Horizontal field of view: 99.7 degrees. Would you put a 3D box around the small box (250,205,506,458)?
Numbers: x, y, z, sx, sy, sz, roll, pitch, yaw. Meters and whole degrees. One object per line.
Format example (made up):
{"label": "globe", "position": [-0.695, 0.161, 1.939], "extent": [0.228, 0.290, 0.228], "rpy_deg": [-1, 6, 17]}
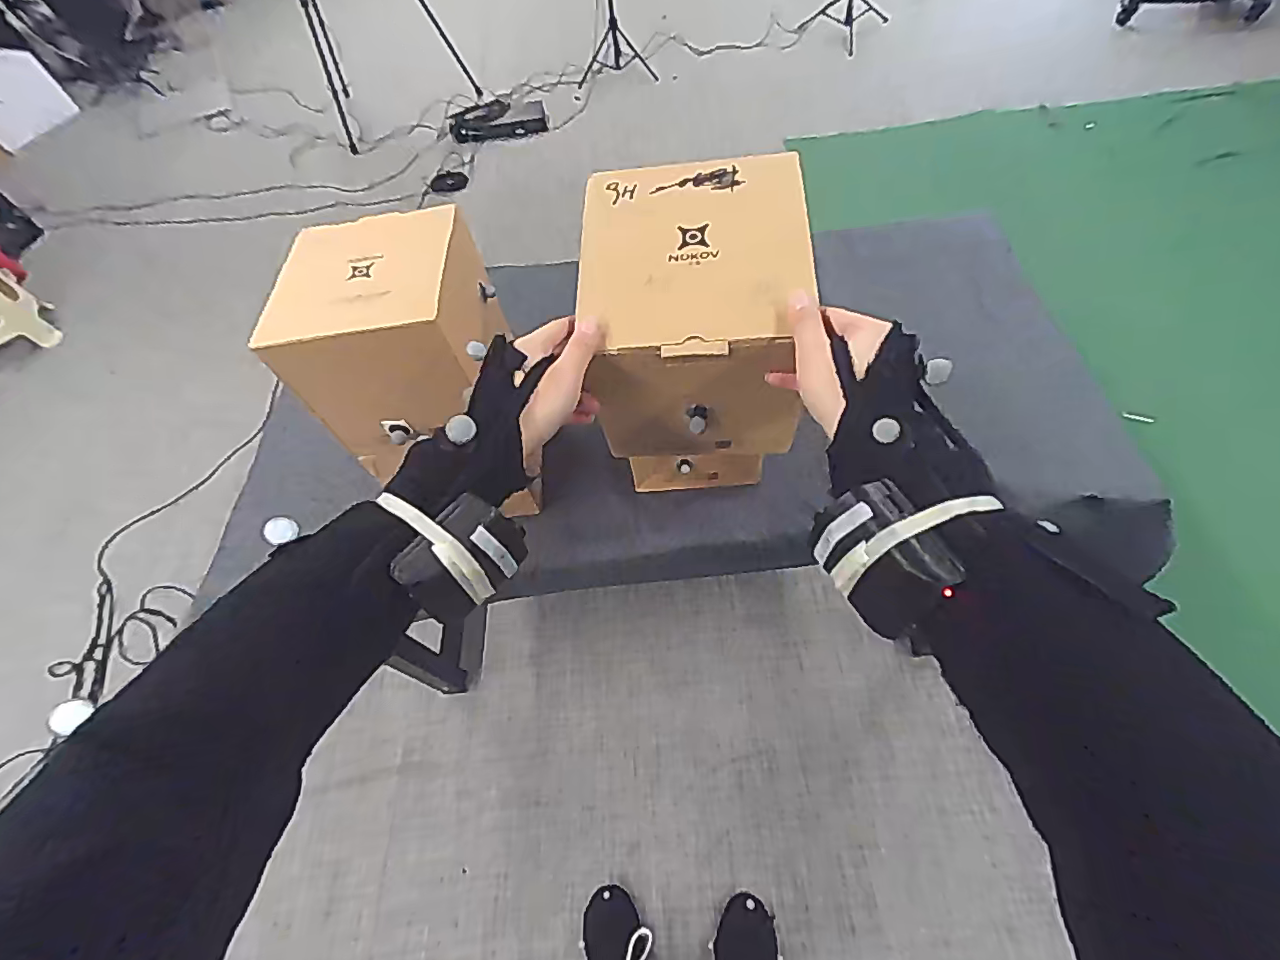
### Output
{"label": "small box", "position": [-0.245, -0.147, 0.559], "extent": [0.168, 0.176, 0.179], "rpy_deg": [-9, 58, 3]}

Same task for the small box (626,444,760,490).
{"label": "small box", "position": [0.061, -0.108, 0.693], "extent": [0.168, 0.176, 0.179], "rpy_deg": [-5, 57, 3]}

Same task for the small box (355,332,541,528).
{"label": "small box", "position": [-0.228, -0.059, 0.694], "extent": [0.168, 0.176, 0.179], "rpy_deg": [-8, 57, 2]}

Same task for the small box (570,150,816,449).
{"label": "small box", "position": [0.046, -0.133, 0.456], "extent": [0.168, 0.176, 0.179], "rpy_deg": [-2, 68, 7]}
